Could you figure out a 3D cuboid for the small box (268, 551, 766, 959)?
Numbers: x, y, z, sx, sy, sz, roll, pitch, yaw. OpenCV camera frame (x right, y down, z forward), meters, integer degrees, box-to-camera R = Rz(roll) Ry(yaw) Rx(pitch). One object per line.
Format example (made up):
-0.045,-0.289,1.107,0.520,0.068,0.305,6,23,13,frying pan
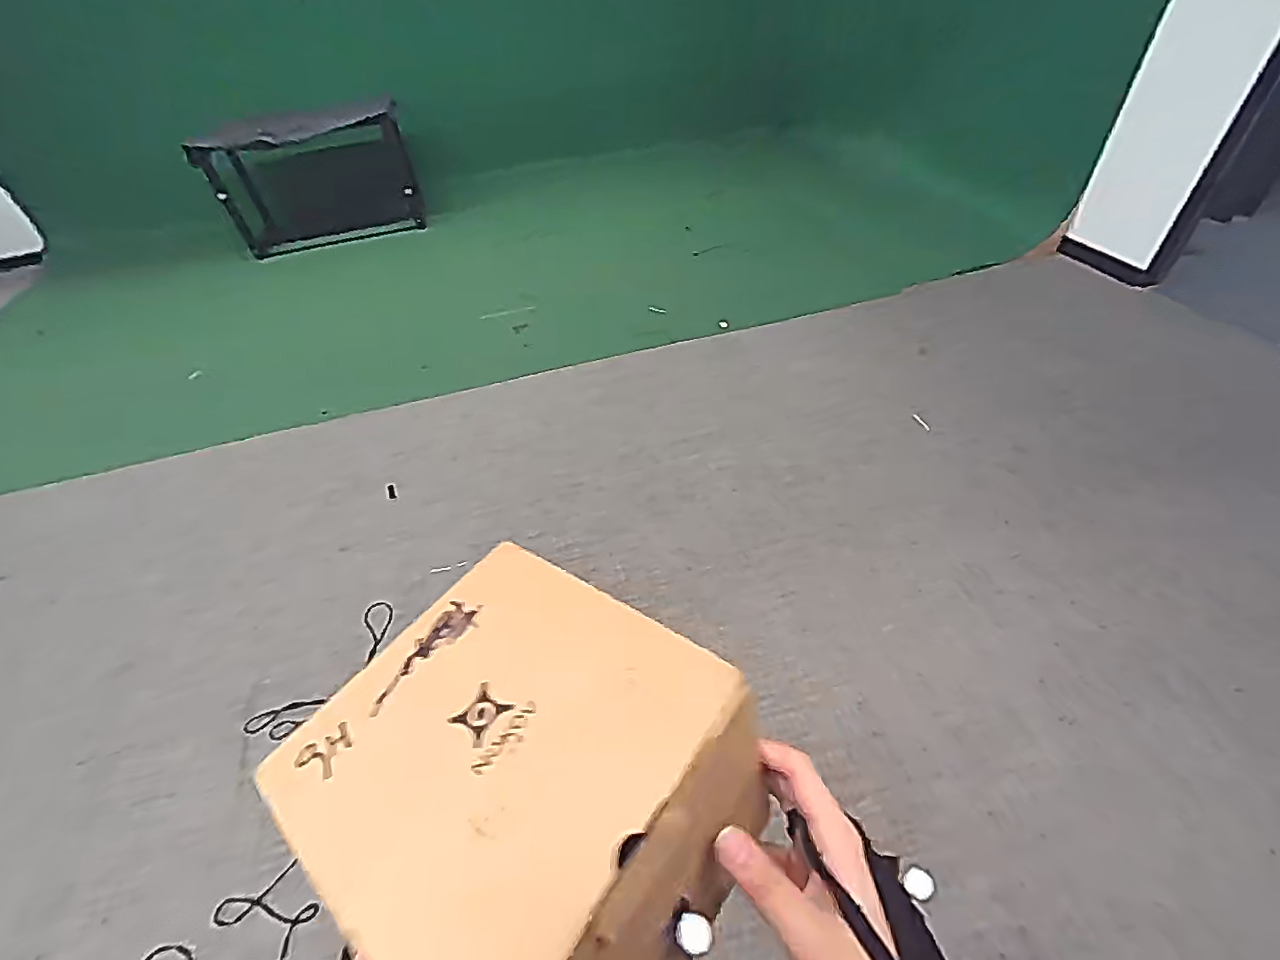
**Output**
-0.047,0.176,0.297,0.179,0.176,0.168,22,53,37,small box
